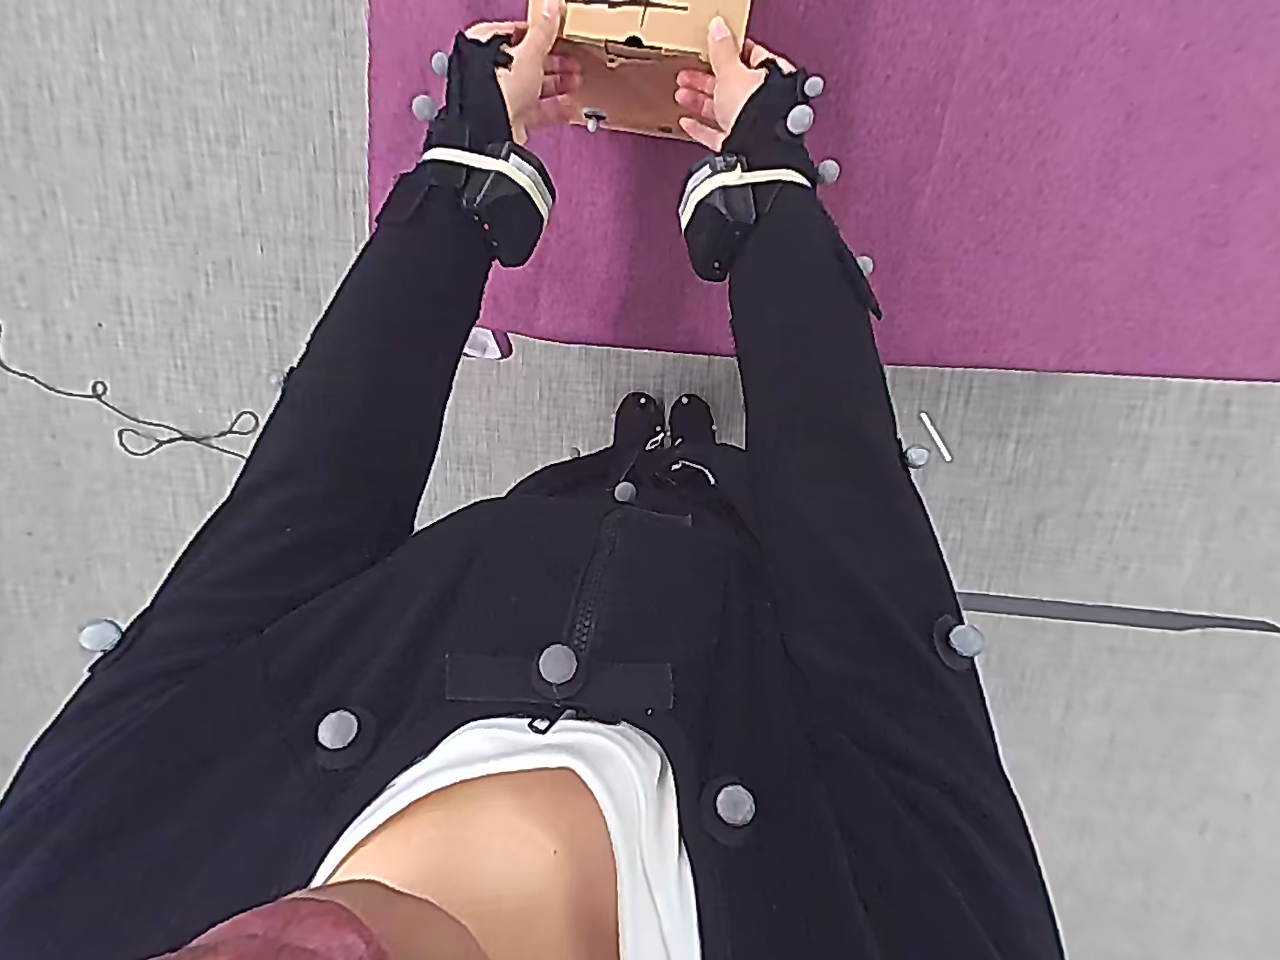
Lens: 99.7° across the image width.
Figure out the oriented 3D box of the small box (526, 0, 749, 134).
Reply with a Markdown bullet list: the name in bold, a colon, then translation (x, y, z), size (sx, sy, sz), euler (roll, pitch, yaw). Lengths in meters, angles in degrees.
- **small box**: translation (0.013, -0.430, 0.463), size (0.168, 0.176, 0.179), euler (9, 102, 2)
